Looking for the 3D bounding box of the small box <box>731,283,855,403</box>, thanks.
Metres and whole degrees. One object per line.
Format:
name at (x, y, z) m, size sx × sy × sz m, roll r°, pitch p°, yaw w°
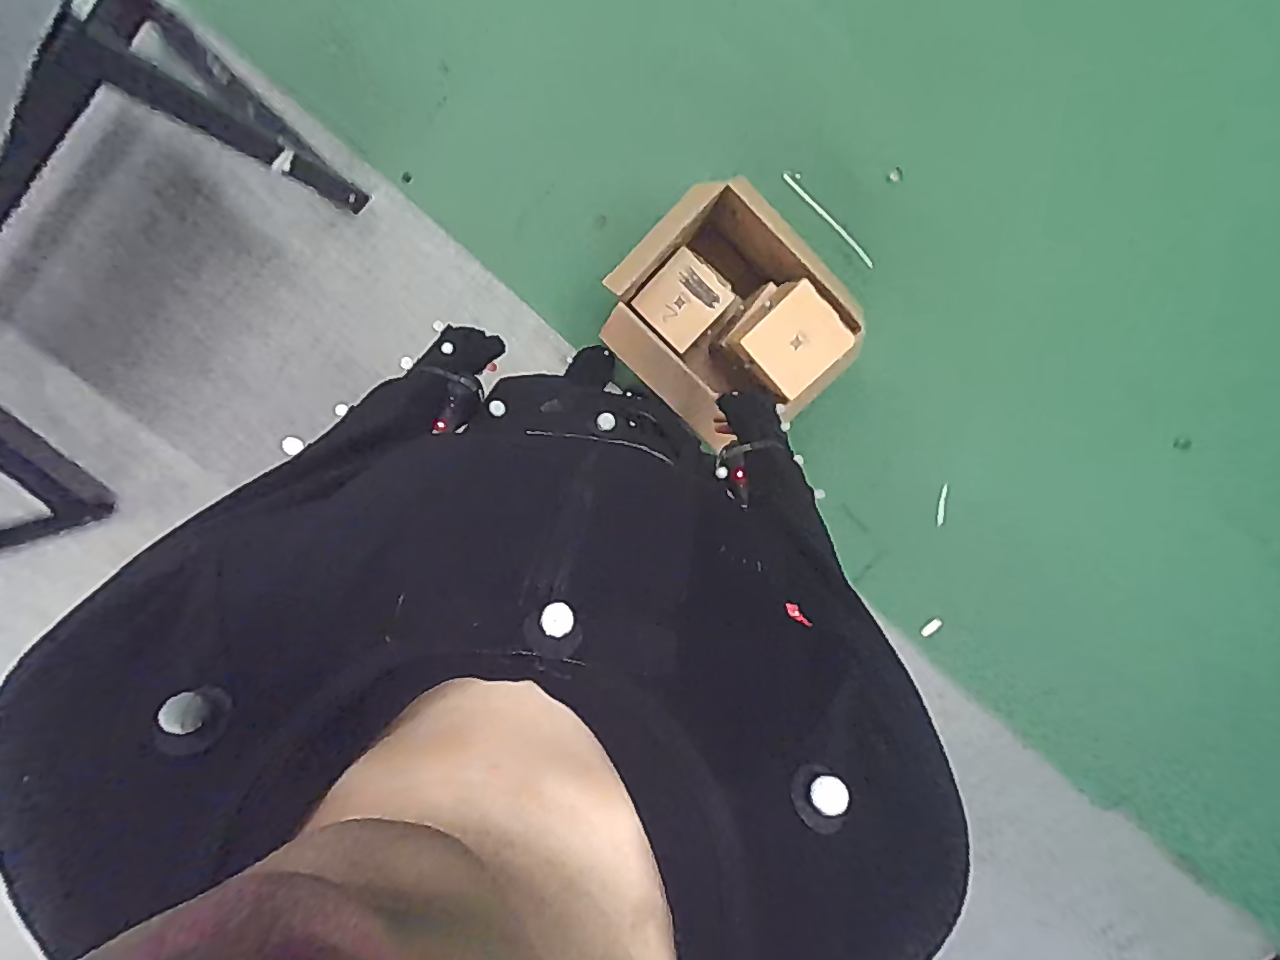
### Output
small box at (0.309, -0.285, 1.144) m, size 0.179 × 0.176 × 0.168 m, roll -43°, pitch 101°, yaw 8°
